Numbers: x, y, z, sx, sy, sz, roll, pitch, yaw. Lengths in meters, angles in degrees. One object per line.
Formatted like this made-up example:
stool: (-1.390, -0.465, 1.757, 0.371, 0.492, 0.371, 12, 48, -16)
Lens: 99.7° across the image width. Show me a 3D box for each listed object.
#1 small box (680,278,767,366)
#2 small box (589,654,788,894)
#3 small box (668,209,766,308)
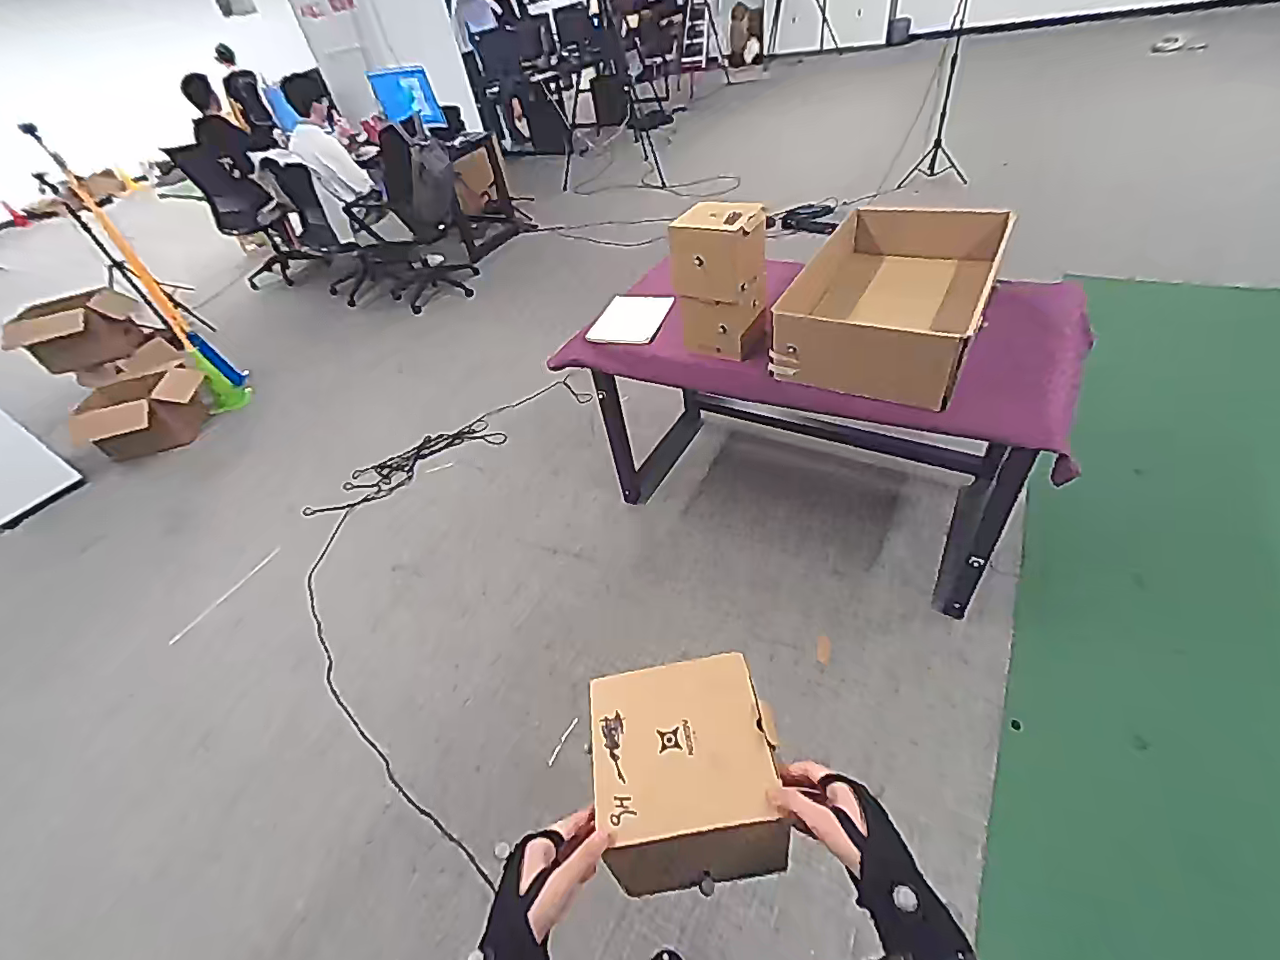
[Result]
small box: (0.224, -0.419, 1.416, 0.168, 0.176, 0.179, 18, 50, 28)
small box: (0.047, 0.316, 0.582, 0.179, 0.176, 0.168, -10, 39, 1)
small box: (0.189, -0.532, 1.302, 0.179, 0.176, 0.168, 18, 50, 28)
